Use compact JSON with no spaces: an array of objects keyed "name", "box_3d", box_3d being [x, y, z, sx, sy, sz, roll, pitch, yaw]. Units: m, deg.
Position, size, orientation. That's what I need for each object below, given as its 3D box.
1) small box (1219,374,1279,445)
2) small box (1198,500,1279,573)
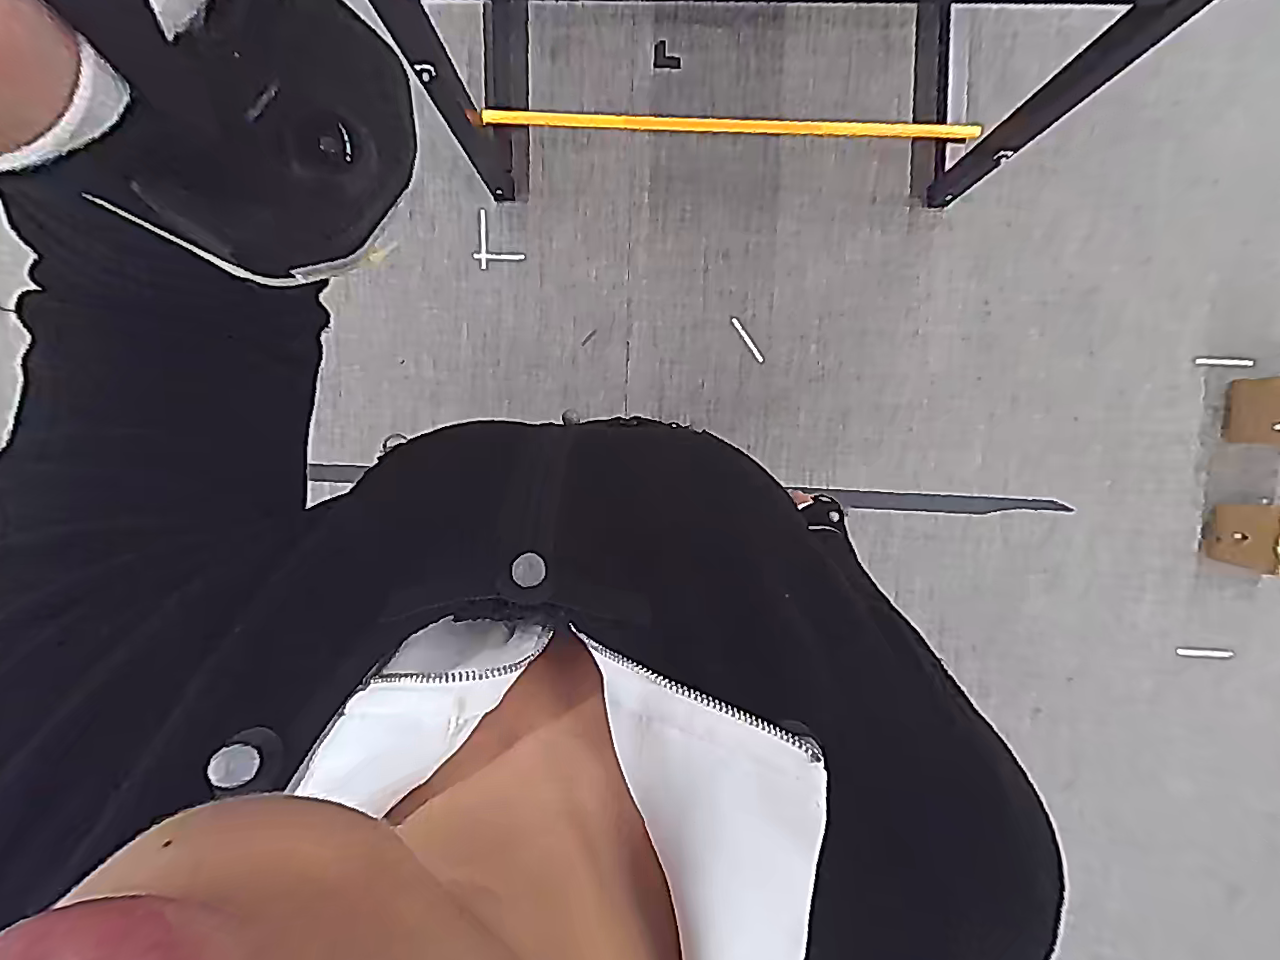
[{"name":"small box","box_3d":[1.654,-0.179,1.385,0.168,0.176,0.179,0,95,0]},{"name":"small box","box_3d":[1.637,0.147,1.417,0.179,0.176,0.168,3,96,1]}]
